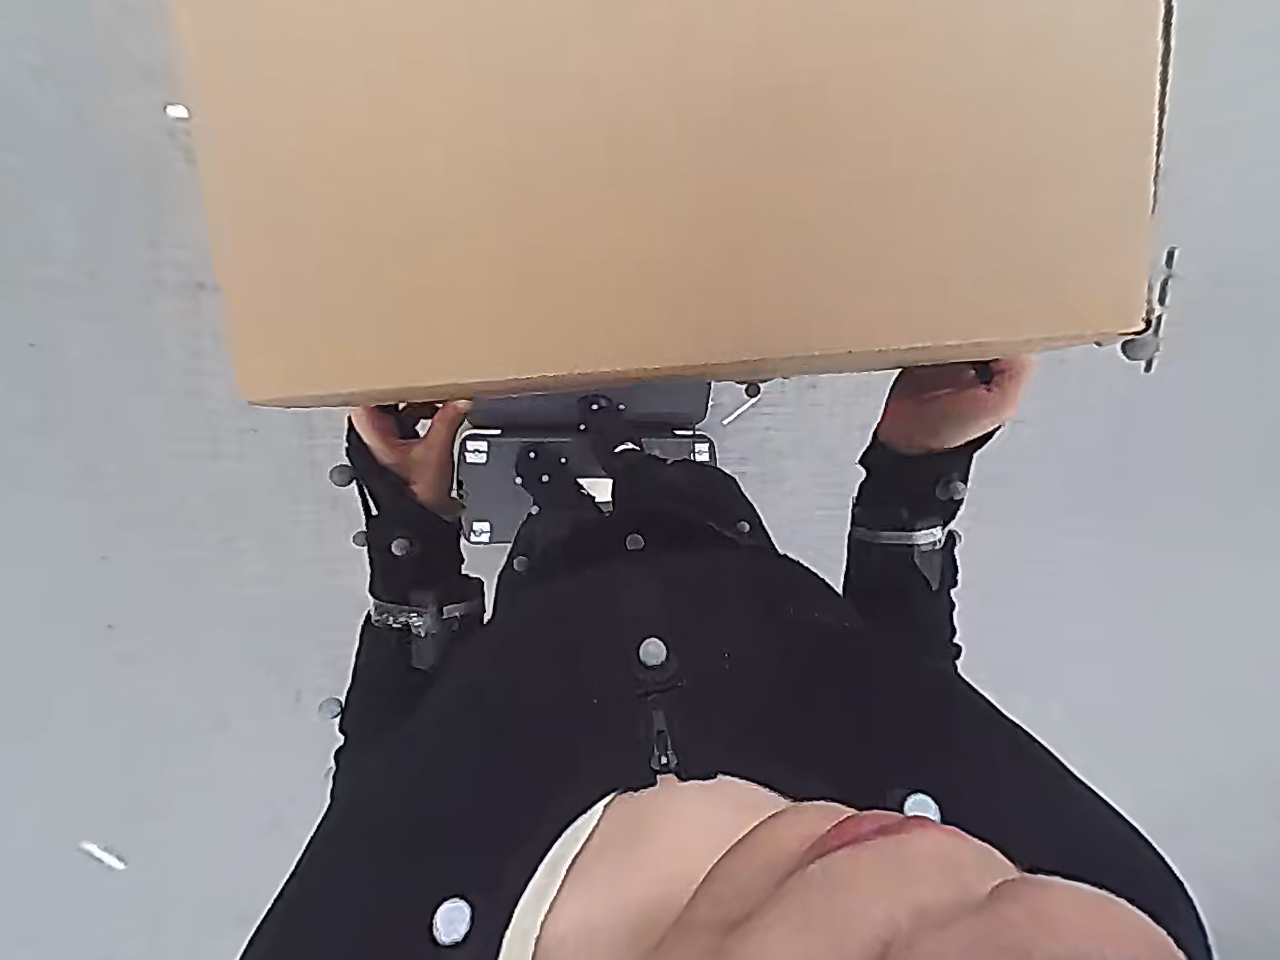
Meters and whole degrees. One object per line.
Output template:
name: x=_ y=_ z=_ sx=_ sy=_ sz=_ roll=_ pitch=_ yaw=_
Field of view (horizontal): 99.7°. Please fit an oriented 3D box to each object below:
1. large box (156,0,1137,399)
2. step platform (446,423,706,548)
large box: x=-0.001 y=-0.229 z=0.362 sx=0.408 sy=0.320 sz=0.320 roll=-4 pitch=100 yaw=4
step platform: x=-0.164 y=0.016 z=1.460 sx=0.684 sy=0.204 sz=0.286 roll=4 pitch=99 yaw=-9
